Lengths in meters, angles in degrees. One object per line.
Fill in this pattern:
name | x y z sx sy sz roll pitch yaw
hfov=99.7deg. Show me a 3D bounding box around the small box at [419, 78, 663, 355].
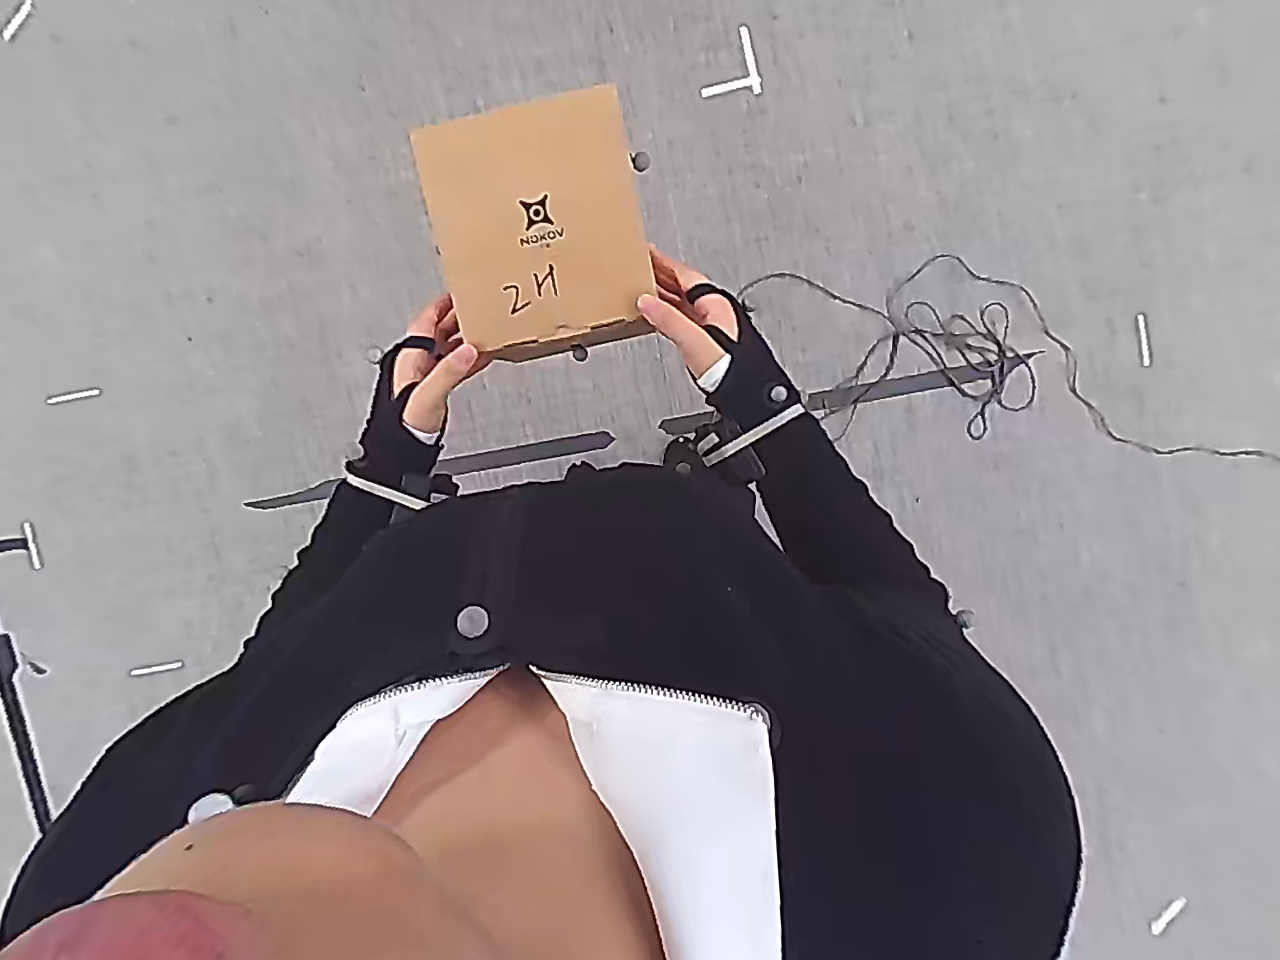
small box | -0.077 -0.224 0.510 0.168 0.176 0.179 -11 100 3
